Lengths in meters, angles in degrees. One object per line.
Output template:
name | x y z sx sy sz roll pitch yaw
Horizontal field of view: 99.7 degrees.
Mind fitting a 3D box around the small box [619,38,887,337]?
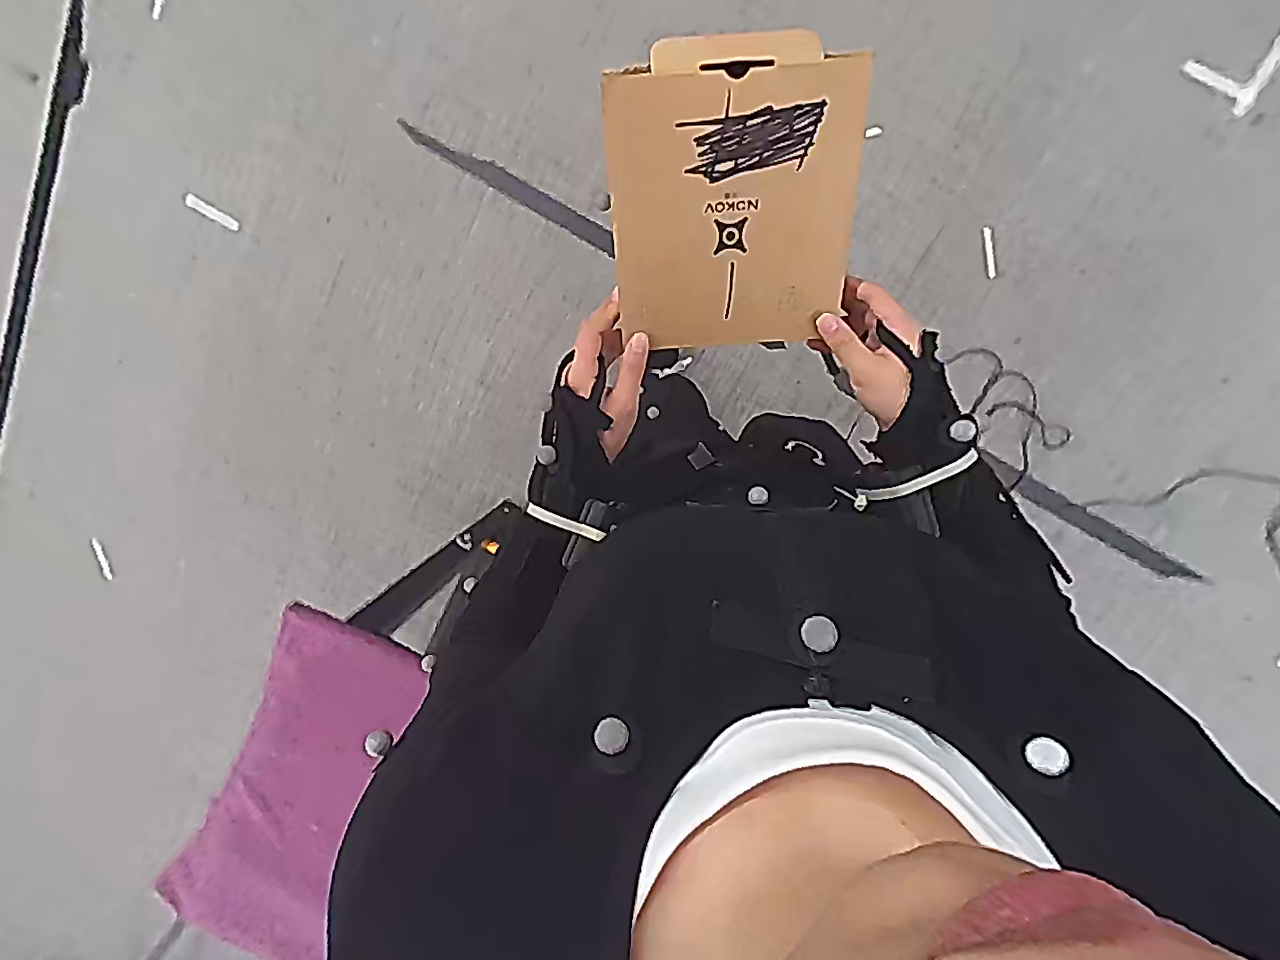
small box | 0.068 -0.229 0.433 0.168 0.176 0.179 -2 124 1
